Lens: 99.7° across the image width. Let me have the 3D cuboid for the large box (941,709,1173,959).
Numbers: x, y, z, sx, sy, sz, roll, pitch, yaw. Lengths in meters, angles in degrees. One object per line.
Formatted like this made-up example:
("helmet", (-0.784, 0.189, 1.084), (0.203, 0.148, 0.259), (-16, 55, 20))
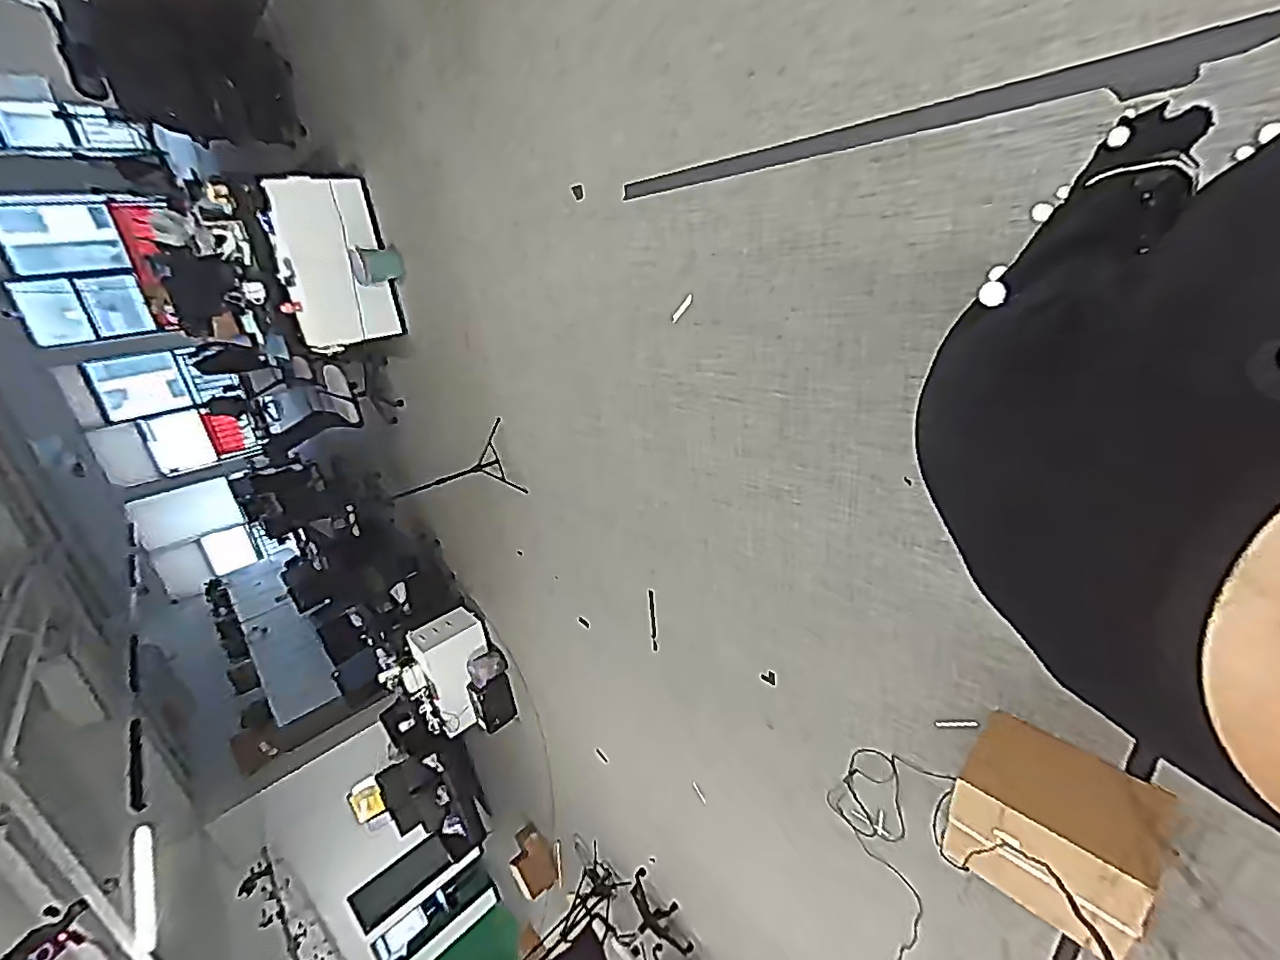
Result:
("large box", (1.098, 0.910, 1.449), (0.408, 0.320, 0.320), (21, 124, 44))
